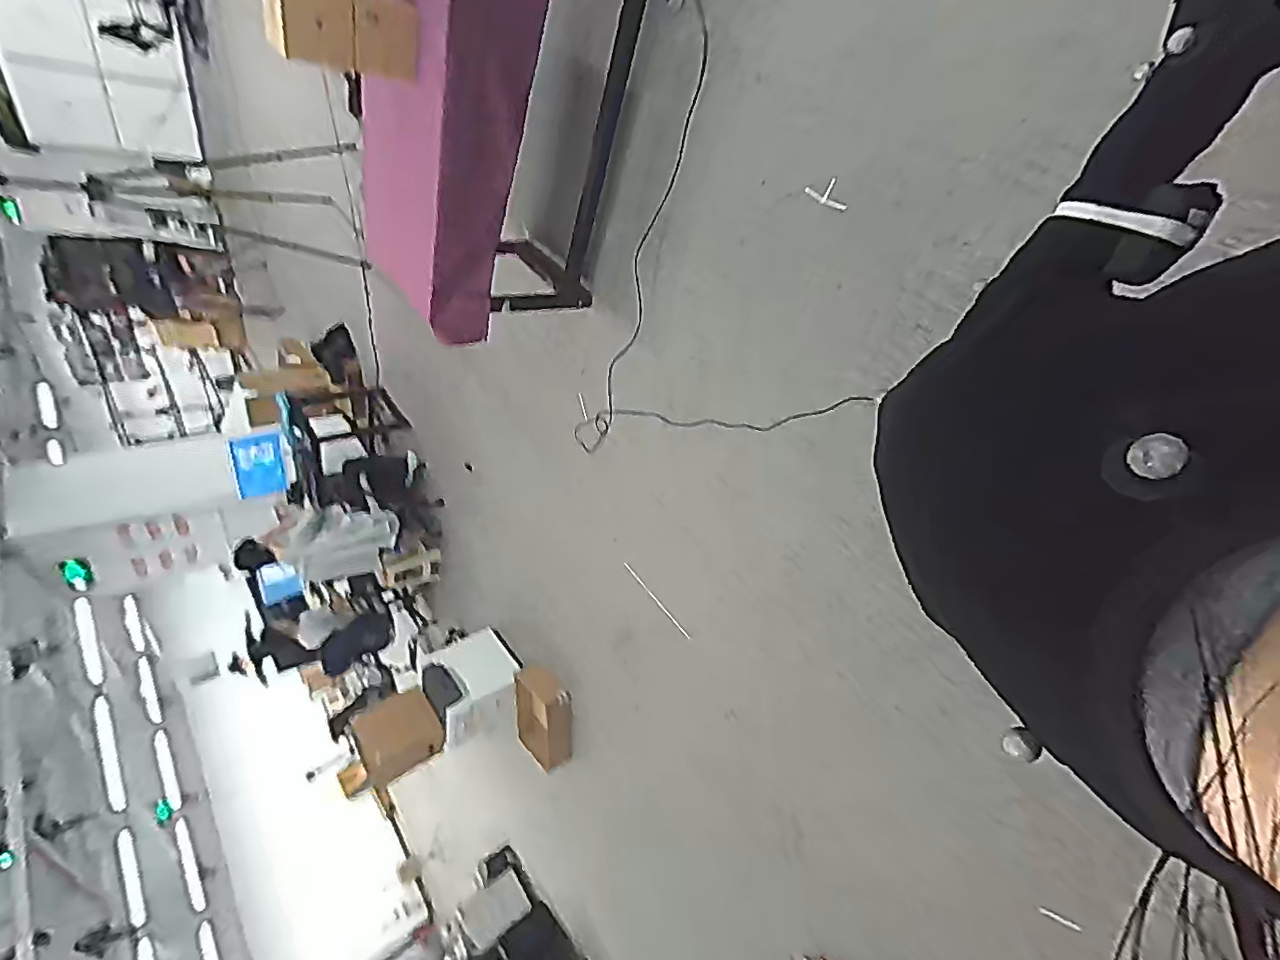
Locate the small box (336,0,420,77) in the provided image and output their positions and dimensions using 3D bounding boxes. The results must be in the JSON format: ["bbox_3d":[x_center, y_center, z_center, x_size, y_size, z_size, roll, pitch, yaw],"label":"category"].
[{"bbox_3d":[-0.729,-1.268,1.507,0.168,0.176,0.179,48,135,27],"label":"small box"}]
